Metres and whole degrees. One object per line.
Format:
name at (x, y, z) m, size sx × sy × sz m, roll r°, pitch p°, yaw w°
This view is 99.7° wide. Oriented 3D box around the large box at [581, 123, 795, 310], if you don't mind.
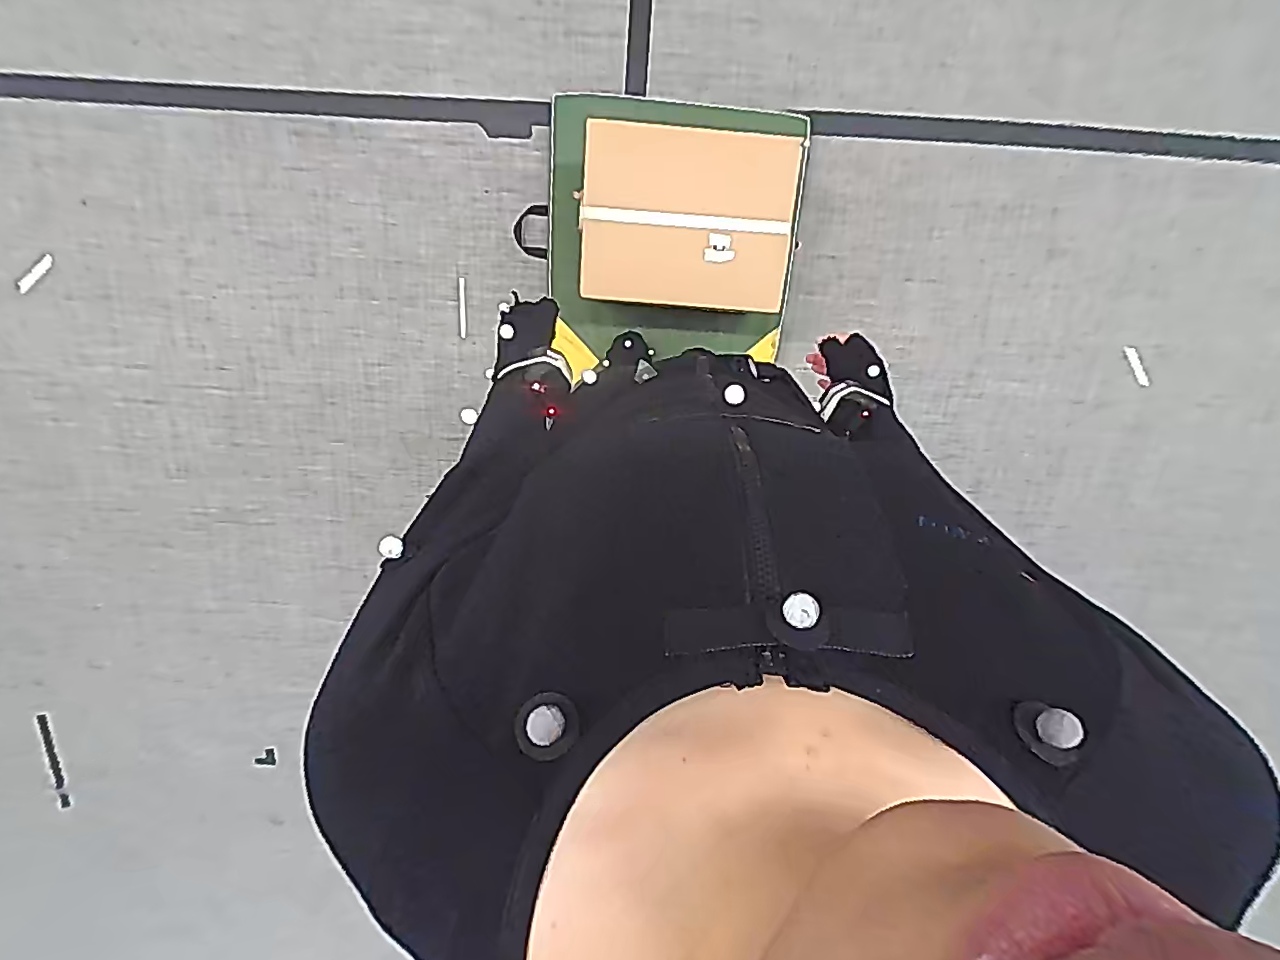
large box at (0.081, -0.549, 1.193) m, size 0.408 × 0.320 × 0.320 m, roll 3°, pitch 108°, yaw -3°
